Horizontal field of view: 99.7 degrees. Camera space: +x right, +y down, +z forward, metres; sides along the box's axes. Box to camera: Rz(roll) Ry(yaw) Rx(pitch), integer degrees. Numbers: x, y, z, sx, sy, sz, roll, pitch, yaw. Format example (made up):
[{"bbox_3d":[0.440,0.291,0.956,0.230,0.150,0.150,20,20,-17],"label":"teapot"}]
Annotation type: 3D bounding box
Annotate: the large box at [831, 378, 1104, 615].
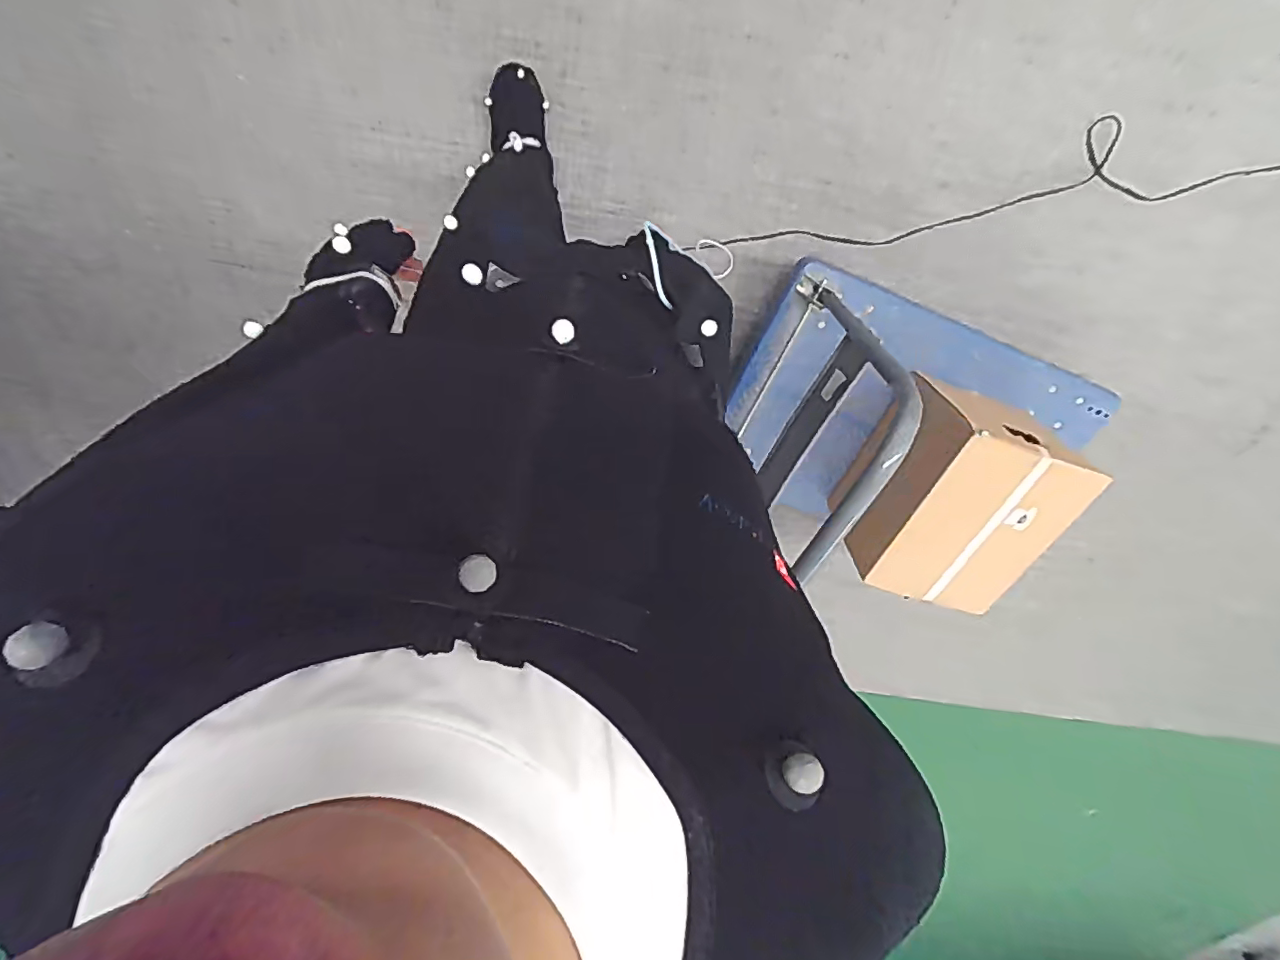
[{"bbox_3d":[0.705,0.035,1.252,0.320,0.320,0.408,15,121,-8],"label":"large box"}]
